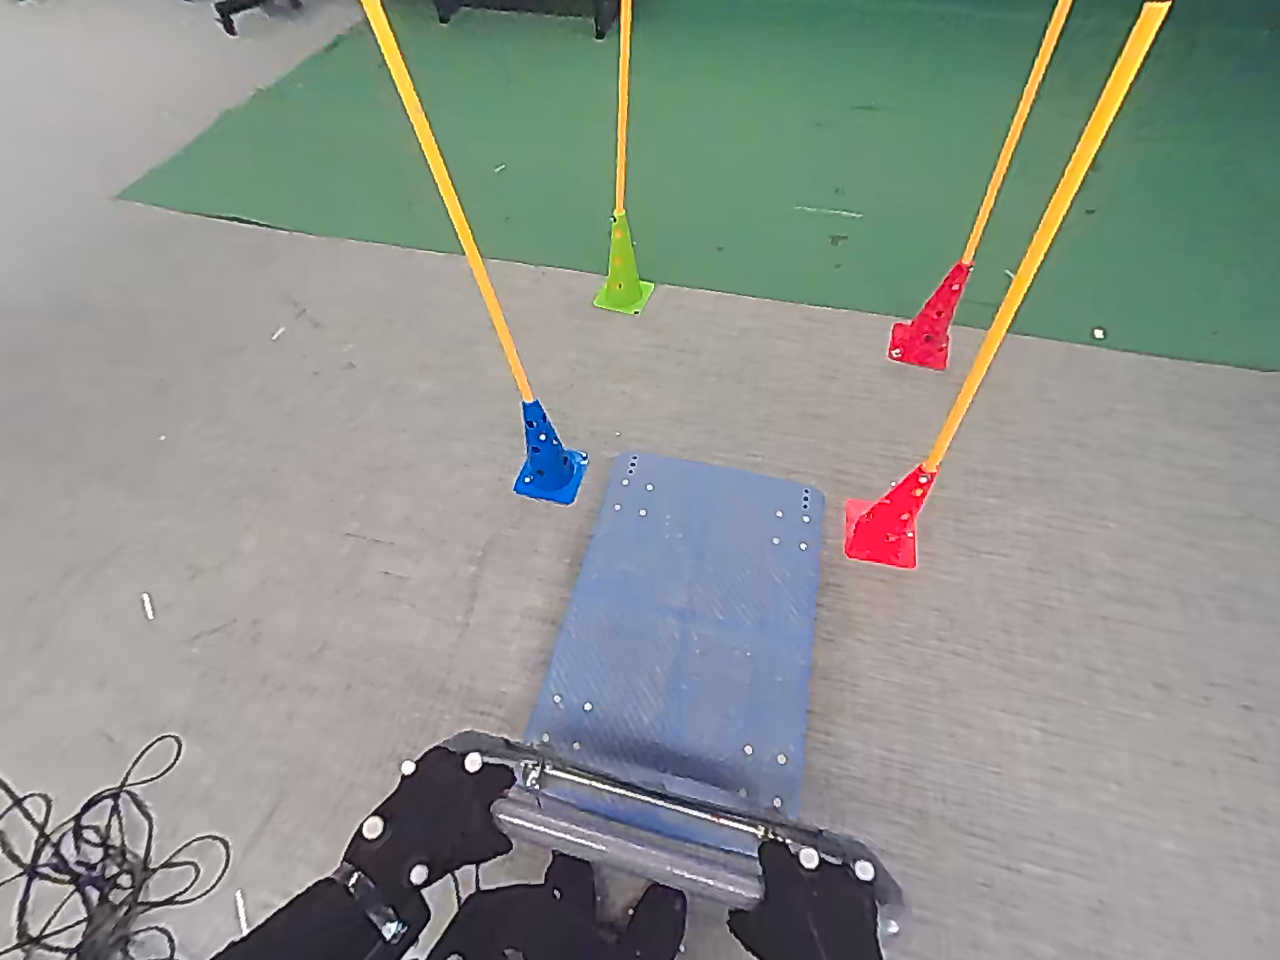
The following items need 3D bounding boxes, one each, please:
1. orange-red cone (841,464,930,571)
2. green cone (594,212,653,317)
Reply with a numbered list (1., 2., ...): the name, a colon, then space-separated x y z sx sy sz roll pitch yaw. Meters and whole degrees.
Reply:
1. orange-red cone: 0.688 0.073 1.452 0.199 0.360 0.198 10 58 10
2. green cone: -0.072 -0.831 2.041 0.202 0.368 0.200 15 59 12
